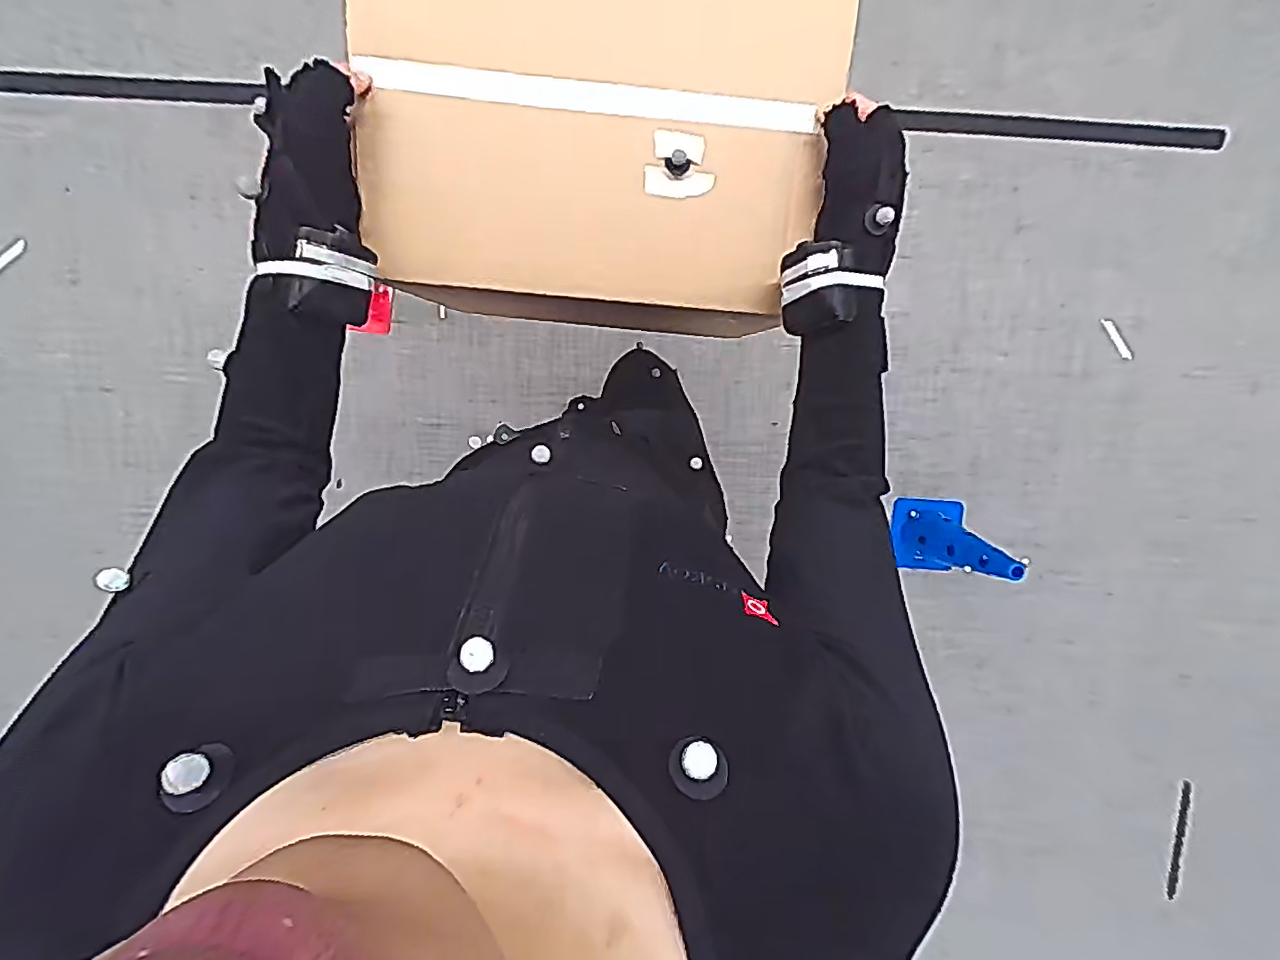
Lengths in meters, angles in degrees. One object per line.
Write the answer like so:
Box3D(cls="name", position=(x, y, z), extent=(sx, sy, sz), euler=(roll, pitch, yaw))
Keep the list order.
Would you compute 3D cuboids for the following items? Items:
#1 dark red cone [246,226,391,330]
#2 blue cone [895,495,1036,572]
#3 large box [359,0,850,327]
Box3D(cls="dark red cone", position=(-0.720, -0.468, 1.189), extent=(0.201, 0.394, 0.202), euler=(8, 97, -4))
Box3D(cls="blue cone", position=(0.820, 0.159, 1.349), extent=(0.192, 0.380, 0.193), euler=(5, 97, -3))
Box3D(cls="large box", position=(-0.039, -0.352, 0.595), extent=(0.408, 0.320, 0.320), euler=(4, 102, -4))
